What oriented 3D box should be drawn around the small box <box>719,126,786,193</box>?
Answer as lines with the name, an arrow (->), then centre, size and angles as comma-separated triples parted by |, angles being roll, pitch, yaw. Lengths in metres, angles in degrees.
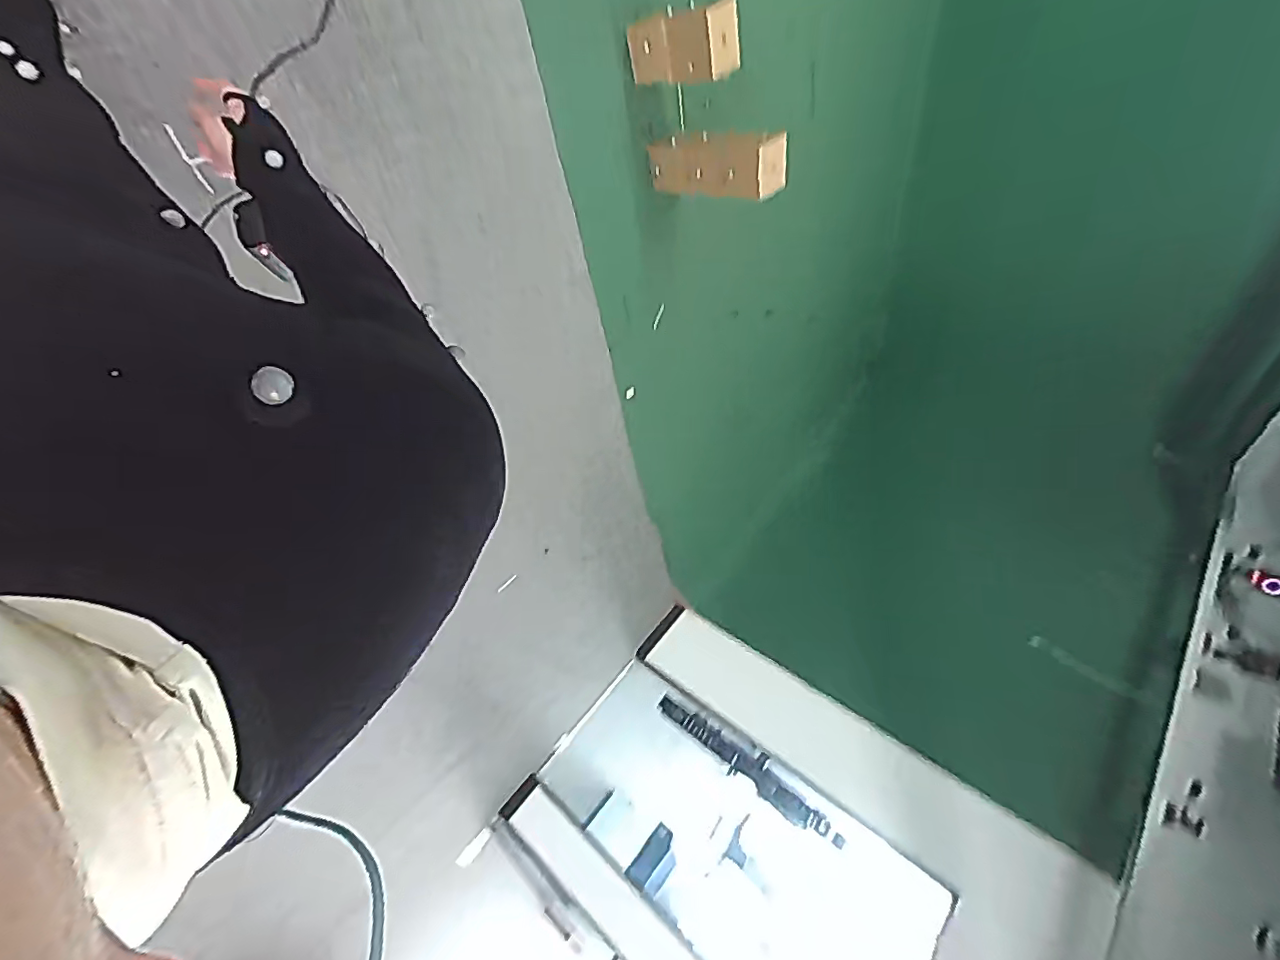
small box -> 0.402, -1.148, 1.931 | 0.179, 0.176, 0.168 | -41, 140, -27

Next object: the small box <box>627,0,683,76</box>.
small box -> 0.072, -1.505, 1.845 | 0.179, 0.176, 0.168 | -46, 142, -25

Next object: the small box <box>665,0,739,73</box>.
small box -> 0.202, -1.455, 1.762 | 0.168, 0.176, 0.179 | -46, 142, -25

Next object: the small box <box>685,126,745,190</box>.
small box -> 0.280, -1.207, 2.024 | 0.179, 0.176, 0.168 | -42, 142, -26
